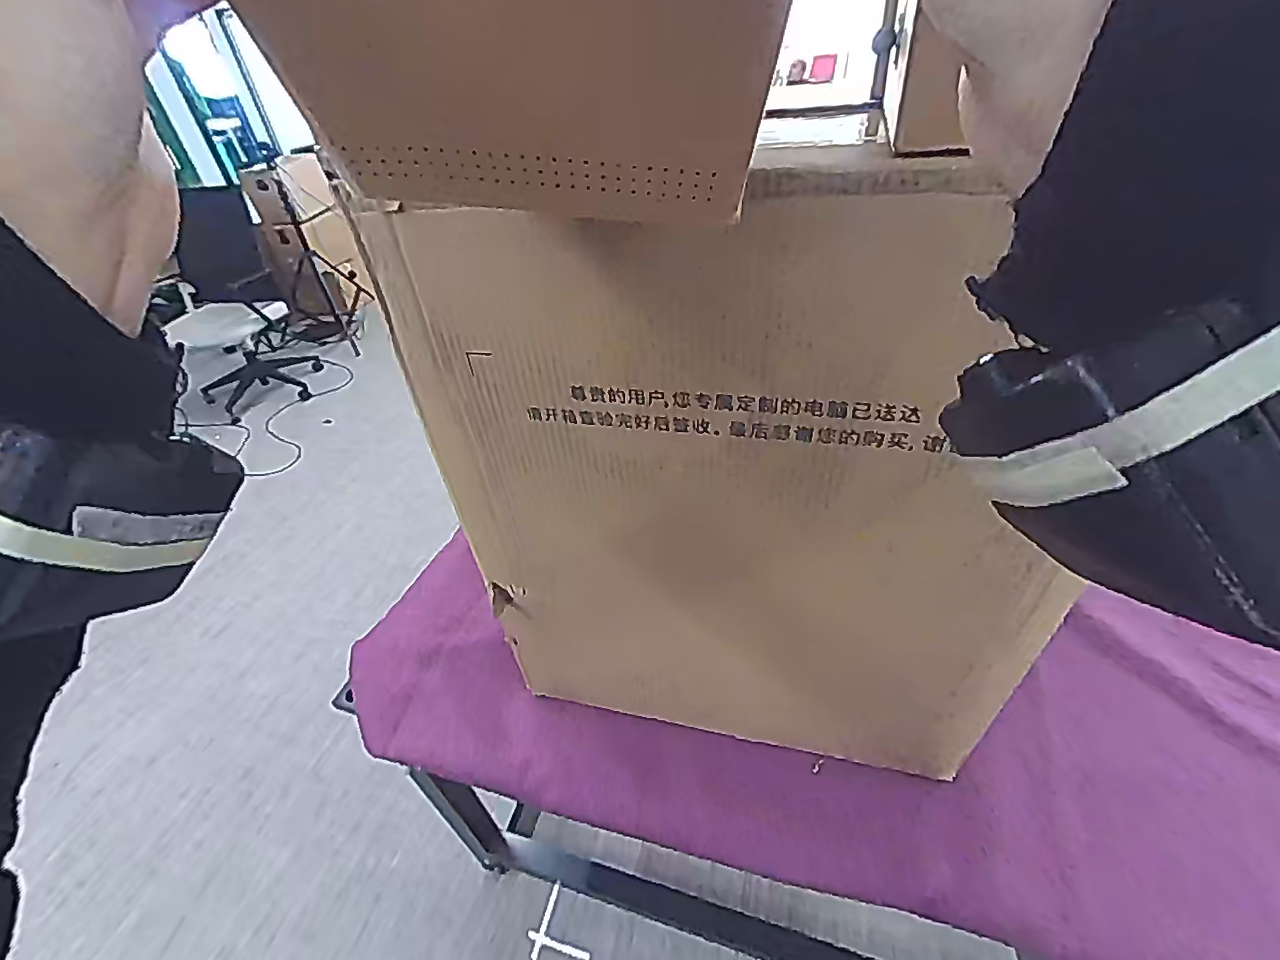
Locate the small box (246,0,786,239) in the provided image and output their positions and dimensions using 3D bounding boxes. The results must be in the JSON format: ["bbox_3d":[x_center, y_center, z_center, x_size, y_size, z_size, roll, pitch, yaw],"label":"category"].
[{"bbox_3d":[-0.036,-0.212,0.193,0.179,0.176,0.168,4,76,-1],"label":"small box"}]

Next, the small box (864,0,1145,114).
[{"bbox_3d":[0.272,-0.391,0.415,0.168,0.176,0.179,7,41,16],"label":"small box"}]
